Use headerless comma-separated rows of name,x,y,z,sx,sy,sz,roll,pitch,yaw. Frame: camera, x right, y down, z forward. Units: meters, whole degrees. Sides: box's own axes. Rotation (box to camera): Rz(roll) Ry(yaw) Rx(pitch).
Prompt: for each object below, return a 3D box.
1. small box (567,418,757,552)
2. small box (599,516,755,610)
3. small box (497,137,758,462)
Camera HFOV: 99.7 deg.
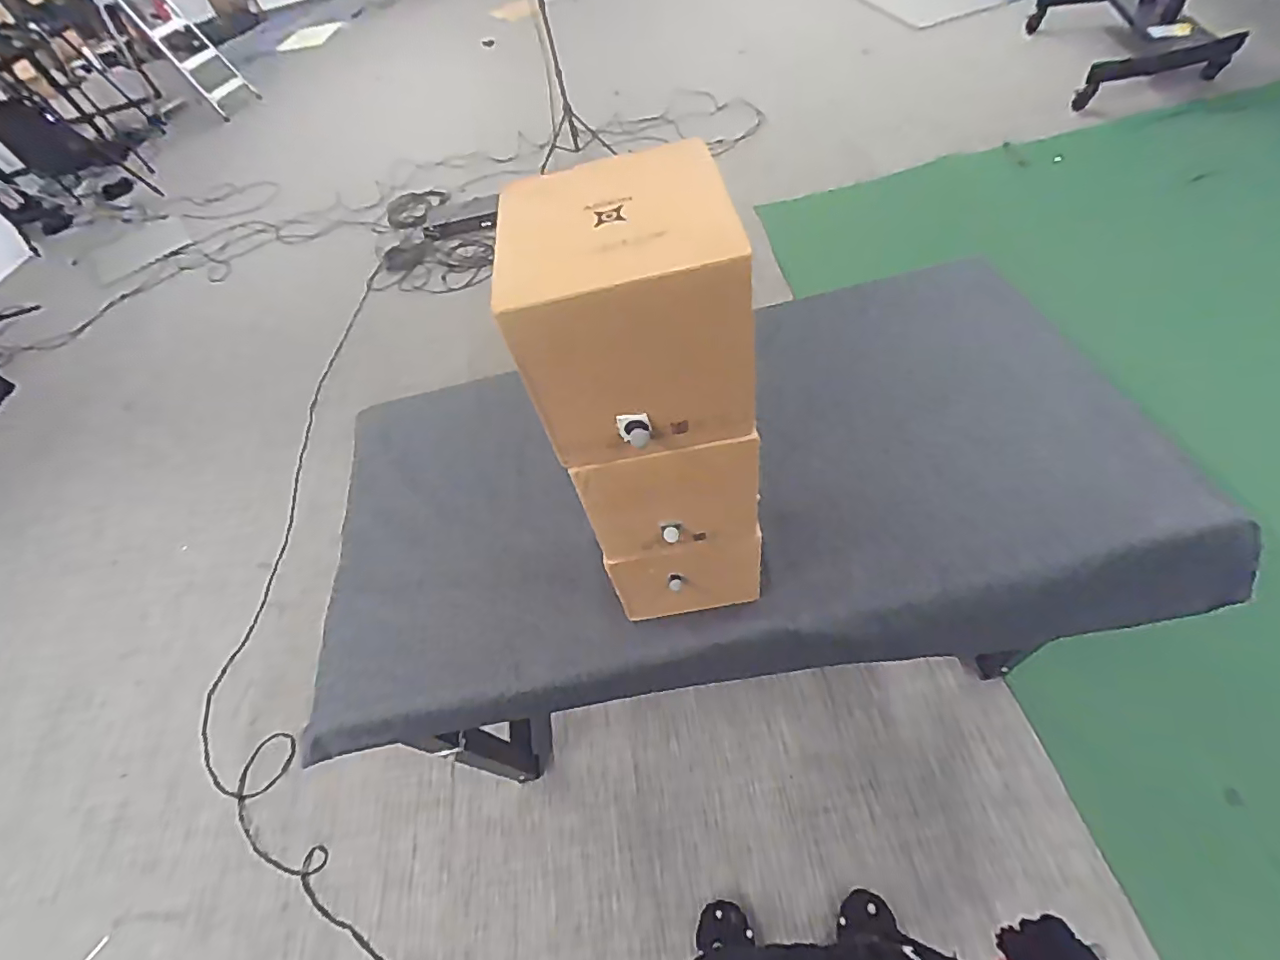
small box,0.023,-0.046,0.572,0.168,0.176,0.179,-9,54,4
small box,0.047,0.054,0.700,0.179,0.176,0.168,-10,53,4
small box,-0.005,-0.142,0.445,0.168,0.176,0.179,-11,54,4
